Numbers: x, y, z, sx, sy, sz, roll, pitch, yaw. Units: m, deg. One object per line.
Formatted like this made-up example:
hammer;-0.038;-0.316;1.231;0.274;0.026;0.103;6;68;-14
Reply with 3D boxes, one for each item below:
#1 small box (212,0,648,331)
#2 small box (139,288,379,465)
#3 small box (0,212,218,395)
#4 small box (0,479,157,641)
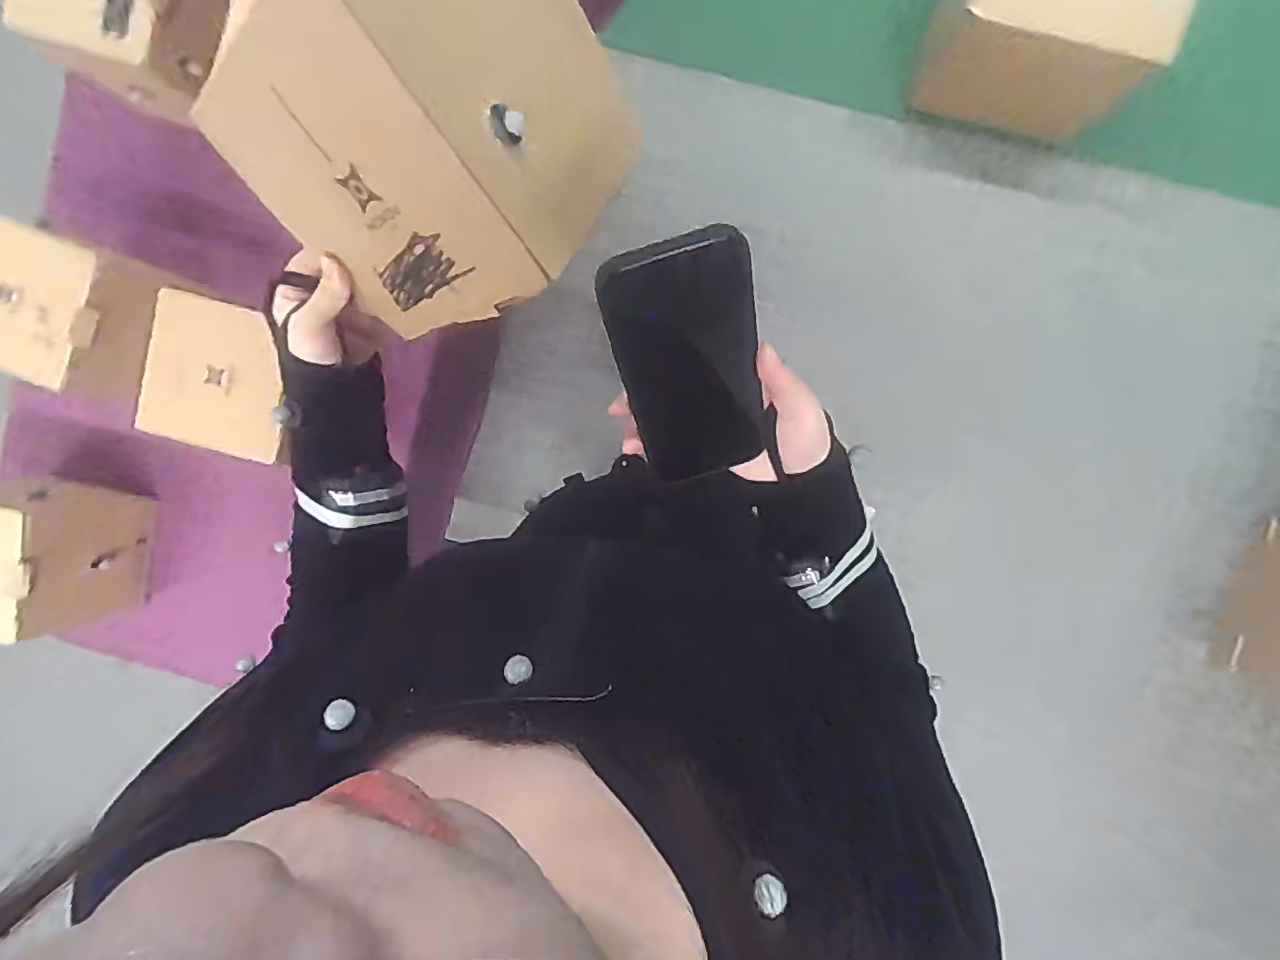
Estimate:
small box;-0.120;-0.234;0.363;0.168;0.179;0.176;-1;51;39
small box;-0.470;-0.124;0.694;0.179;0.176;0.168;15;94;3
small box;-0.711;-0.214;0.701;0.179;0.176;0.168;22;96;1
small box;-0.812;0.095;0.730;0.179;0.176;0.168;11;94;2
